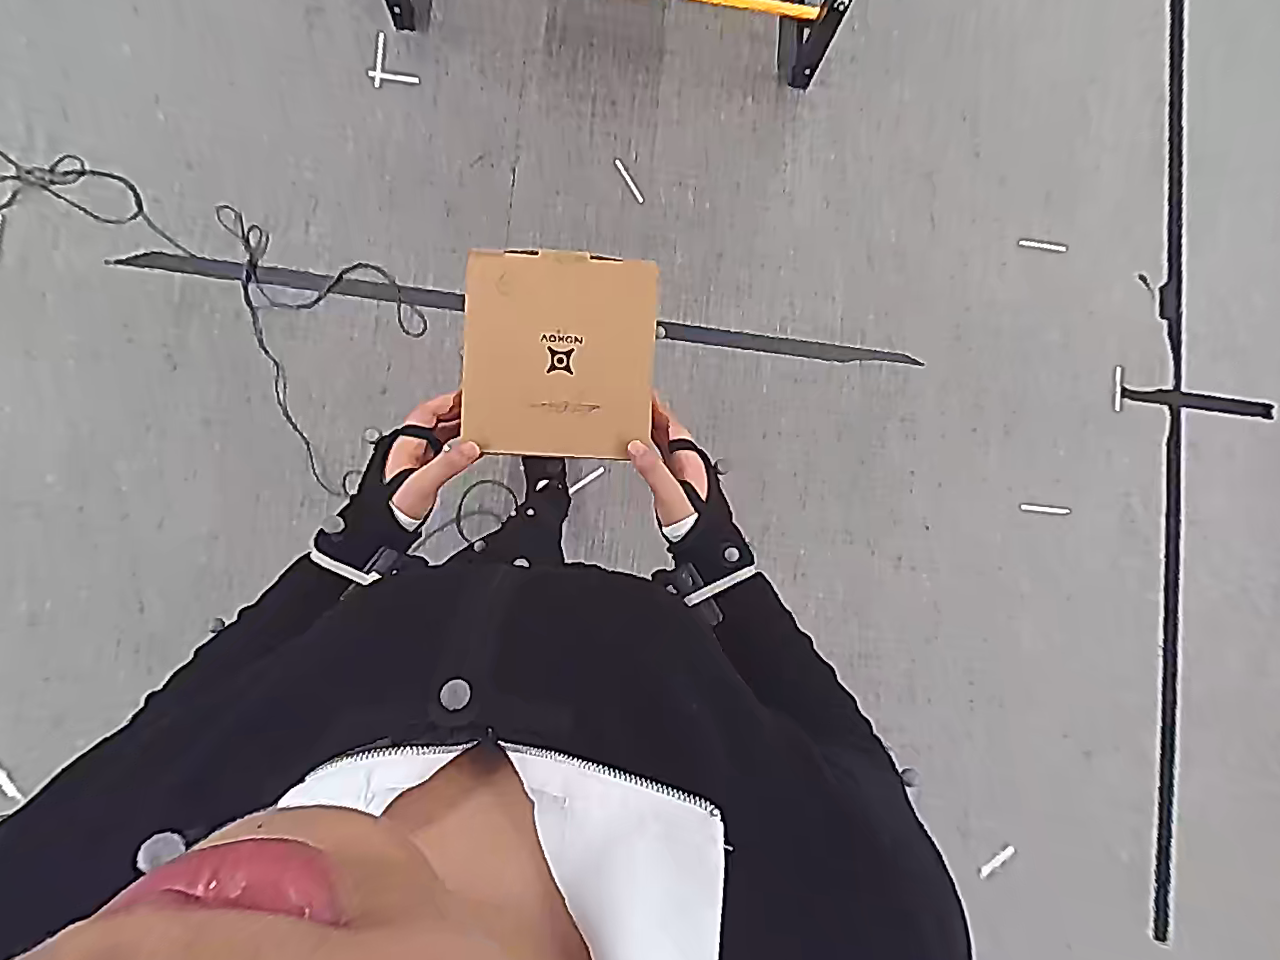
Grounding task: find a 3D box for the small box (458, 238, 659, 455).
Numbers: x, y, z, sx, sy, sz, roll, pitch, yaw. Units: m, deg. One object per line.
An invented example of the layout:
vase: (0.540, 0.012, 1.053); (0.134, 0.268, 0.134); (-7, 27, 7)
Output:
small box: (-0.076, -0.117, 0.545); (0.168, 0.176, 0.179); (3, 93, -4)
